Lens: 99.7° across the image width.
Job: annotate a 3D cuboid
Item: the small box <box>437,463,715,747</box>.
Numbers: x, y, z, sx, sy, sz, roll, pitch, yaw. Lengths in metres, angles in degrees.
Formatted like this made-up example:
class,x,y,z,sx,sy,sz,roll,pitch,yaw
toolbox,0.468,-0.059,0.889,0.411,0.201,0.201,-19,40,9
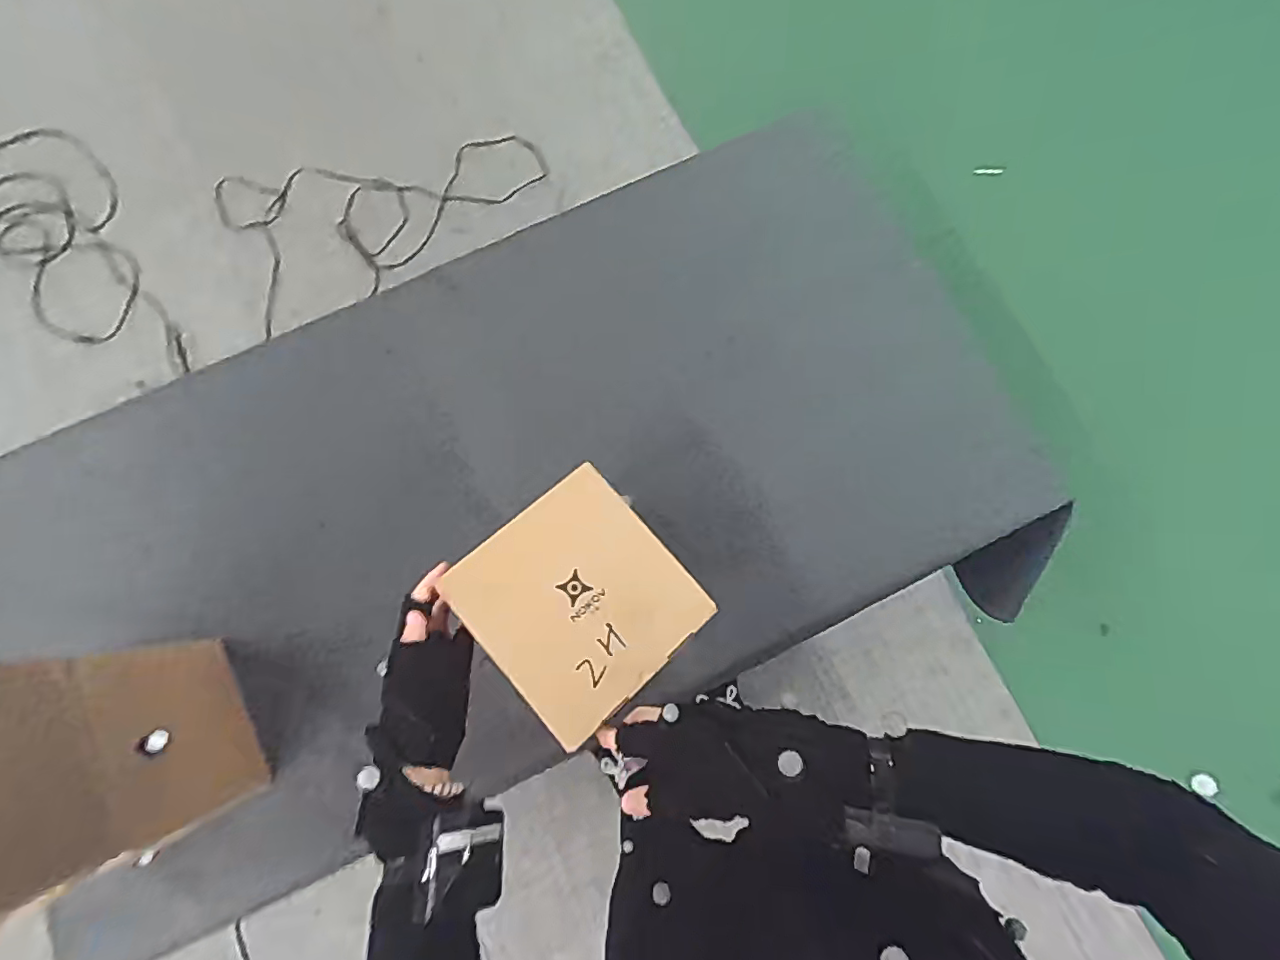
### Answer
class,x,y,z,sx,sy,sz,roll,pitch,yaw
small box,-0.060,0.116,0.523,0.168,0.176,0.179,-40,84,-14

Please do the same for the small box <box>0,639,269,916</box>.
class,x,y,z,sx,sy,sz,roll,pitch,yaw
small box,-0.512,0.268,0.521,0.168,0.176,0.179,-28,80,-4

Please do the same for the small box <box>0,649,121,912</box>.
class,x,y,z,sx,sy,sz,roll,pitch,yaw
small box,-0.515,0.235,0.361,0.168,0.176,0.179,-27,80,-5
